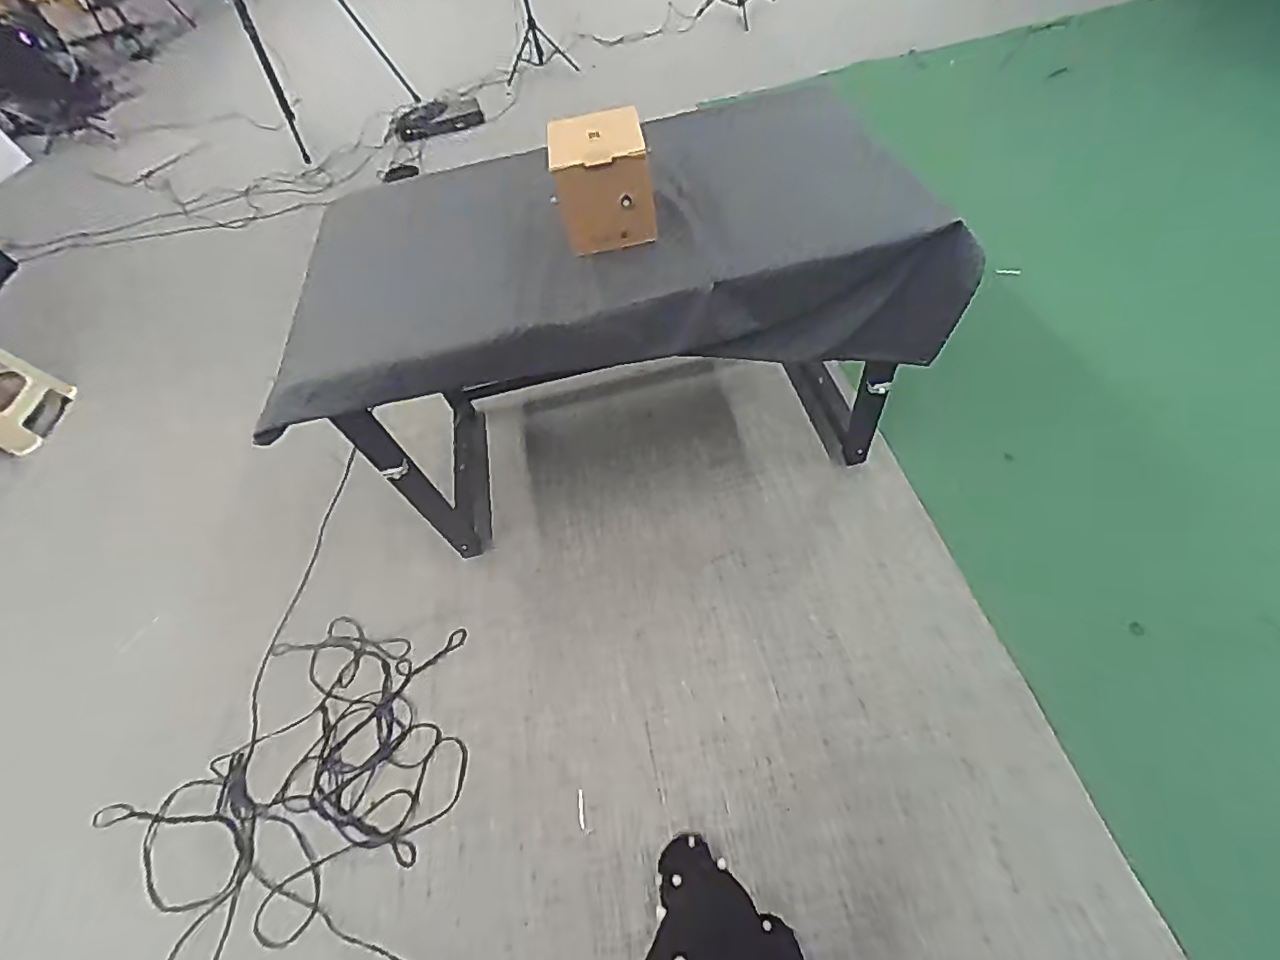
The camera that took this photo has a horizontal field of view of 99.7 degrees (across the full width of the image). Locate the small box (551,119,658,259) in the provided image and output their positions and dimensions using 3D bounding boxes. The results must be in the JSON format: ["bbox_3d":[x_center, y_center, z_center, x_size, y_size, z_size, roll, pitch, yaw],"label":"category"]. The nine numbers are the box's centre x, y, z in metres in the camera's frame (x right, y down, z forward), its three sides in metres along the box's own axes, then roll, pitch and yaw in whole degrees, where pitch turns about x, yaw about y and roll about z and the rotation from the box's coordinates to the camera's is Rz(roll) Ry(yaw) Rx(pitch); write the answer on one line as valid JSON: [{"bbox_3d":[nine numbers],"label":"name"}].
[{"bbox_3d":[-0.064,-0.532,1.008,0.168,0.176,0.179,-10,54,2],"label":"small box"}]
